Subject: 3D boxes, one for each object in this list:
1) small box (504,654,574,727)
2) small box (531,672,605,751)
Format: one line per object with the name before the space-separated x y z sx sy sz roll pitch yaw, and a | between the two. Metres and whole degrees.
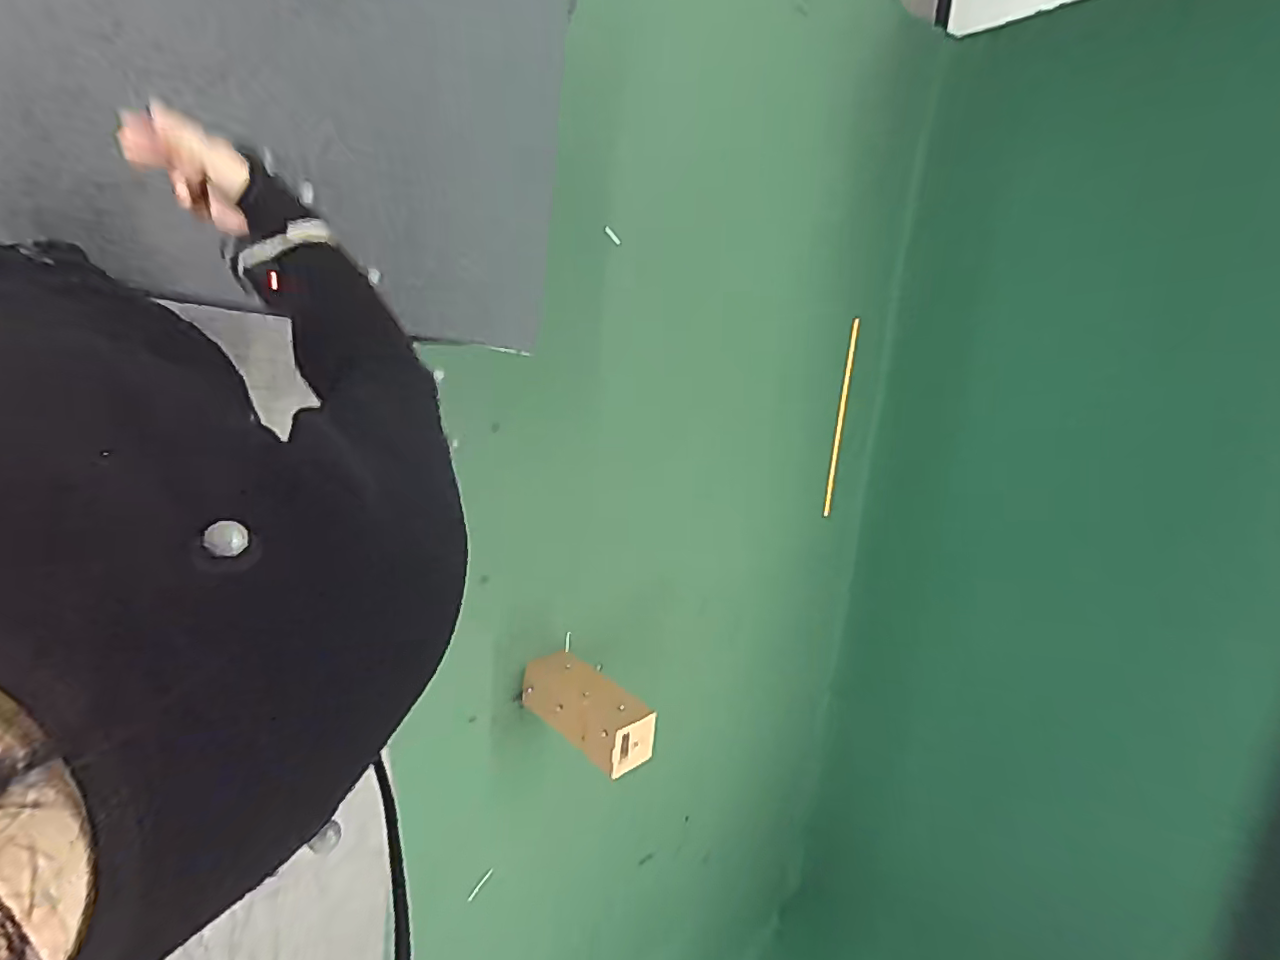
small box | -0.367 0.752 1.957 0.179 0.176 0.168 -1 100 -48
small box | -0.247 0.782 1.851 0.179 0.176 0.168 -3 103 -47
